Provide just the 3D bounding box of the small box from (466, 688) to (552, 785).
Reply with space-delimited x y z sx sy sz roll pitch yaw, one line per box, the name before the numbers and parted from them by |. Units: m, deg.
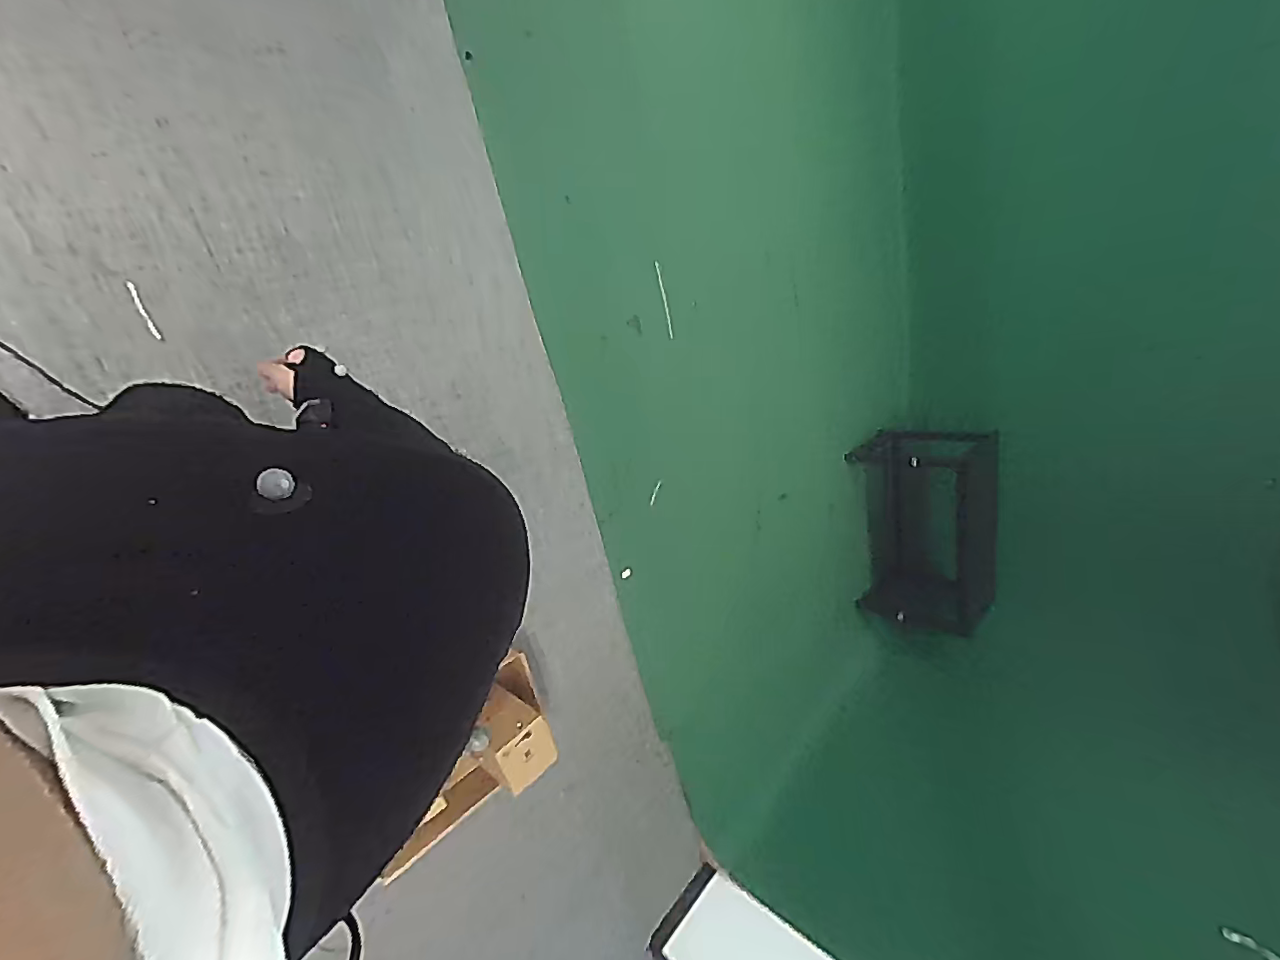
small box | -0.403 0.775 1.655 0.168 0.176 0.179 -32 118 -37
